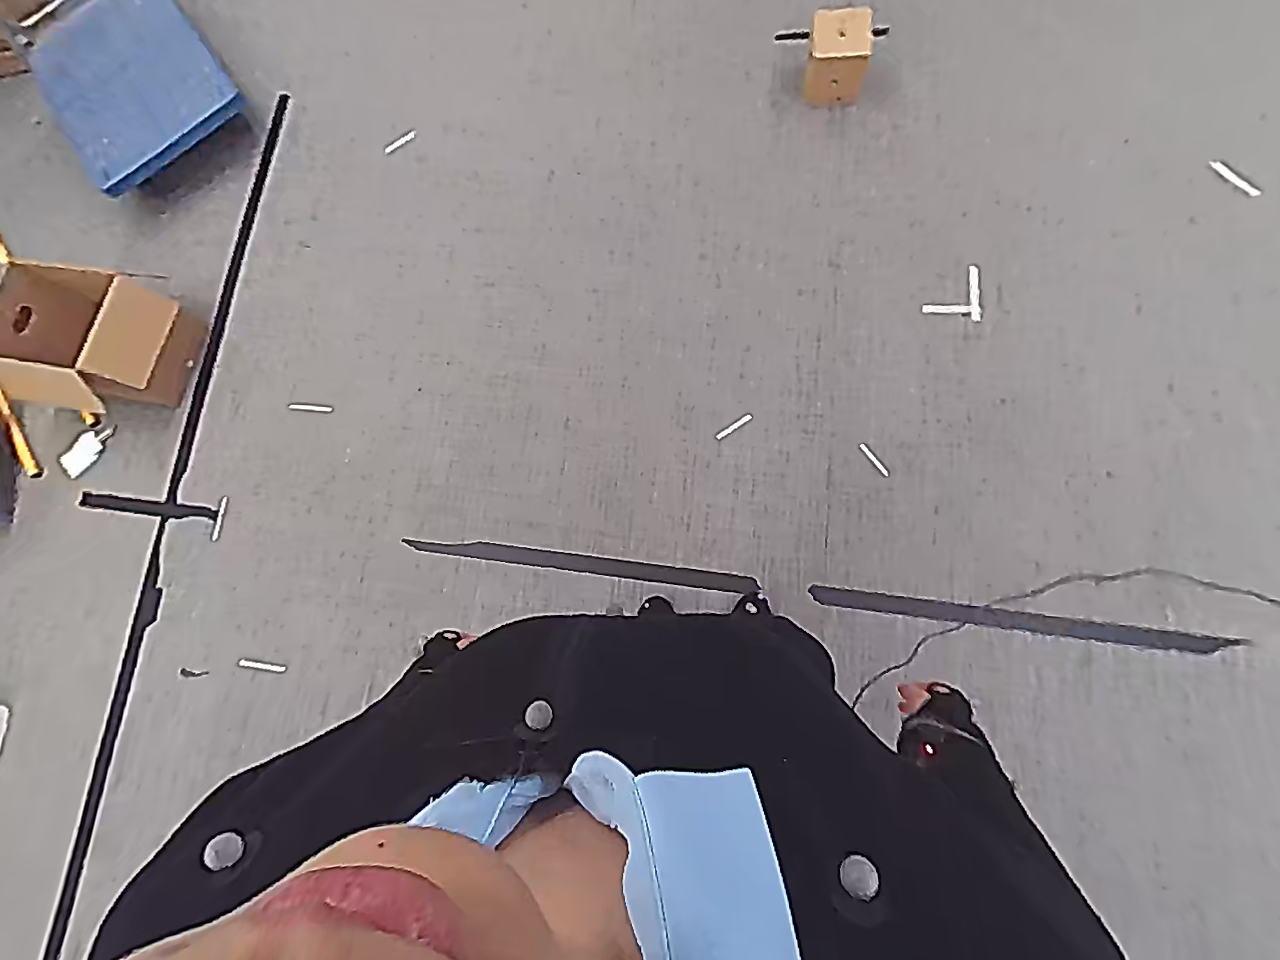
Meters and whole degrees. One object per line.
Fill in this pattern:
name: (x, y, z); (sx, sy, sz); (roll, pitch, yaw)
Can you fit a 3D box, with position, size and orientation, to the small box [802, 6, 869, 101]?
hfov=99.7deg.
small box: (0.606, -1.317, 1.685); (0.168, 0.176, 0.179); (3, 78, 7)
